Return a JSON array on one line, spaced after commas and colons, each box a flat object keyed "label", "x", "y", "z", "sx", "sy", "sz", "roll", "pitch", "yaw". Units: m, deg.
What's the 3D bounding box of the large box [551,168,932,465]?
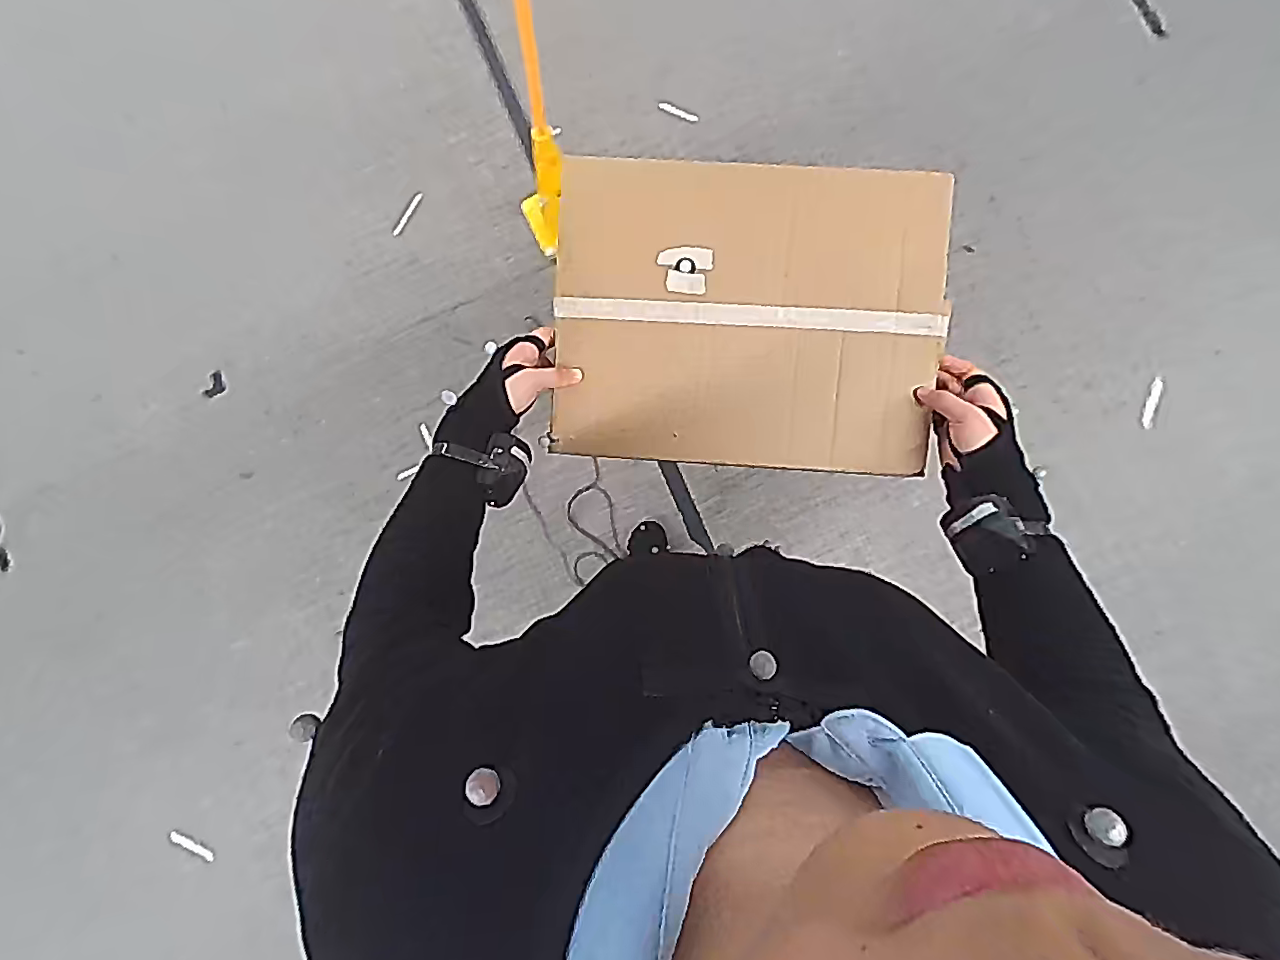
[{"label": "large box", "x": 0.113, "y": -0.187, "z": 0.730, "sx": 0.408, "sy": 0.320, "sz": 0.320, "roll": 3, "pitch": 93, "yaw": 3}]
